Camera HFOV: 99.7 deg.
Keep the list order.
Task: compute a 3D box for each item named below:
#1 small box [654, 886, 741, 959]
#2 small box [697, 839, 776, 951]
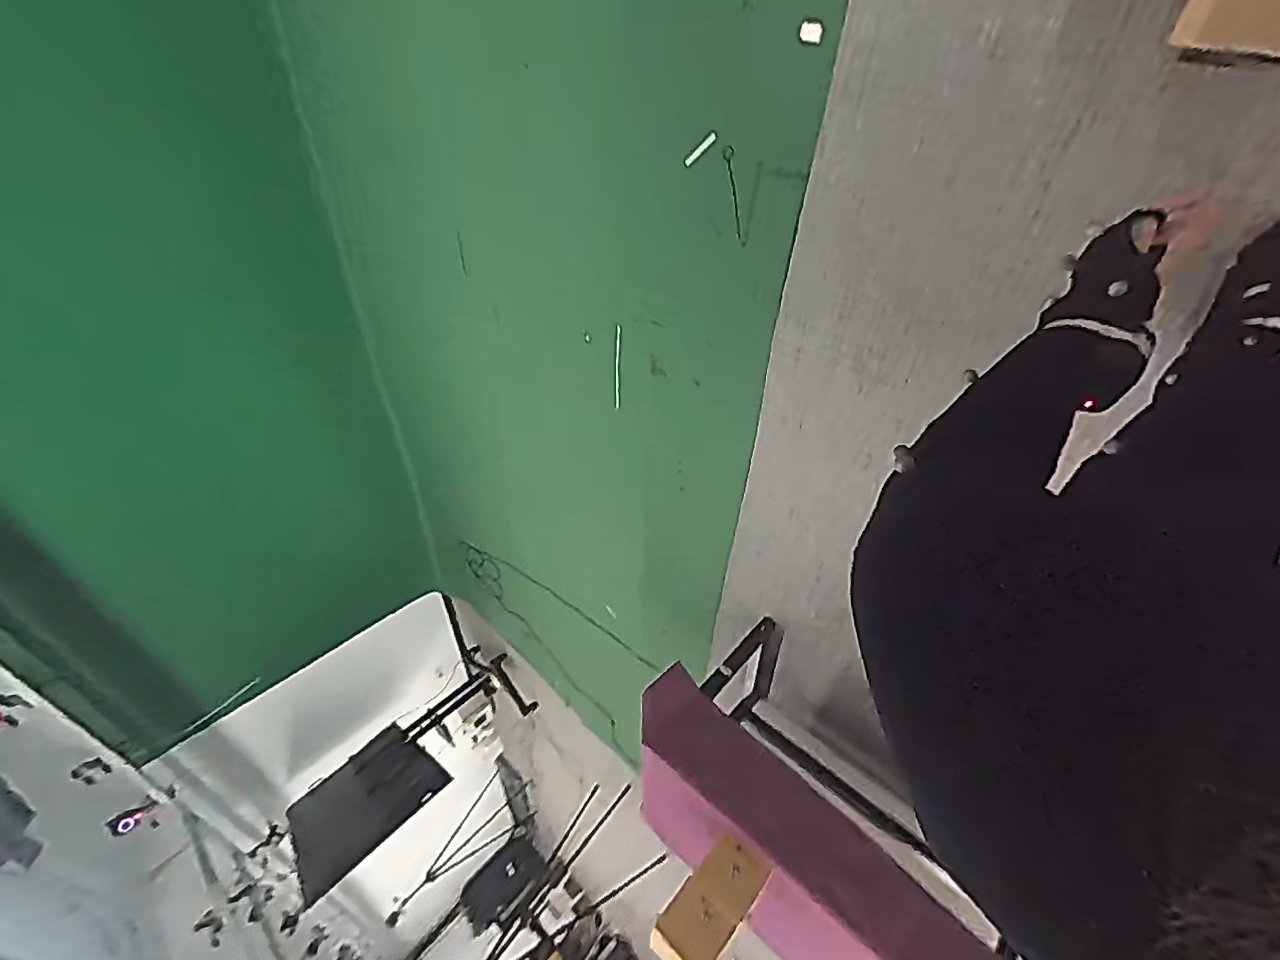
[{"bbox_3d":[0.156,1.259,1.465,0.168,0.176,0.179,30,135,32],"label":"small box"},{"bbox_3d":[0.271,1.184,1.554,0.168,0.176,0.179,31,136,32],"label":"small box"}]
